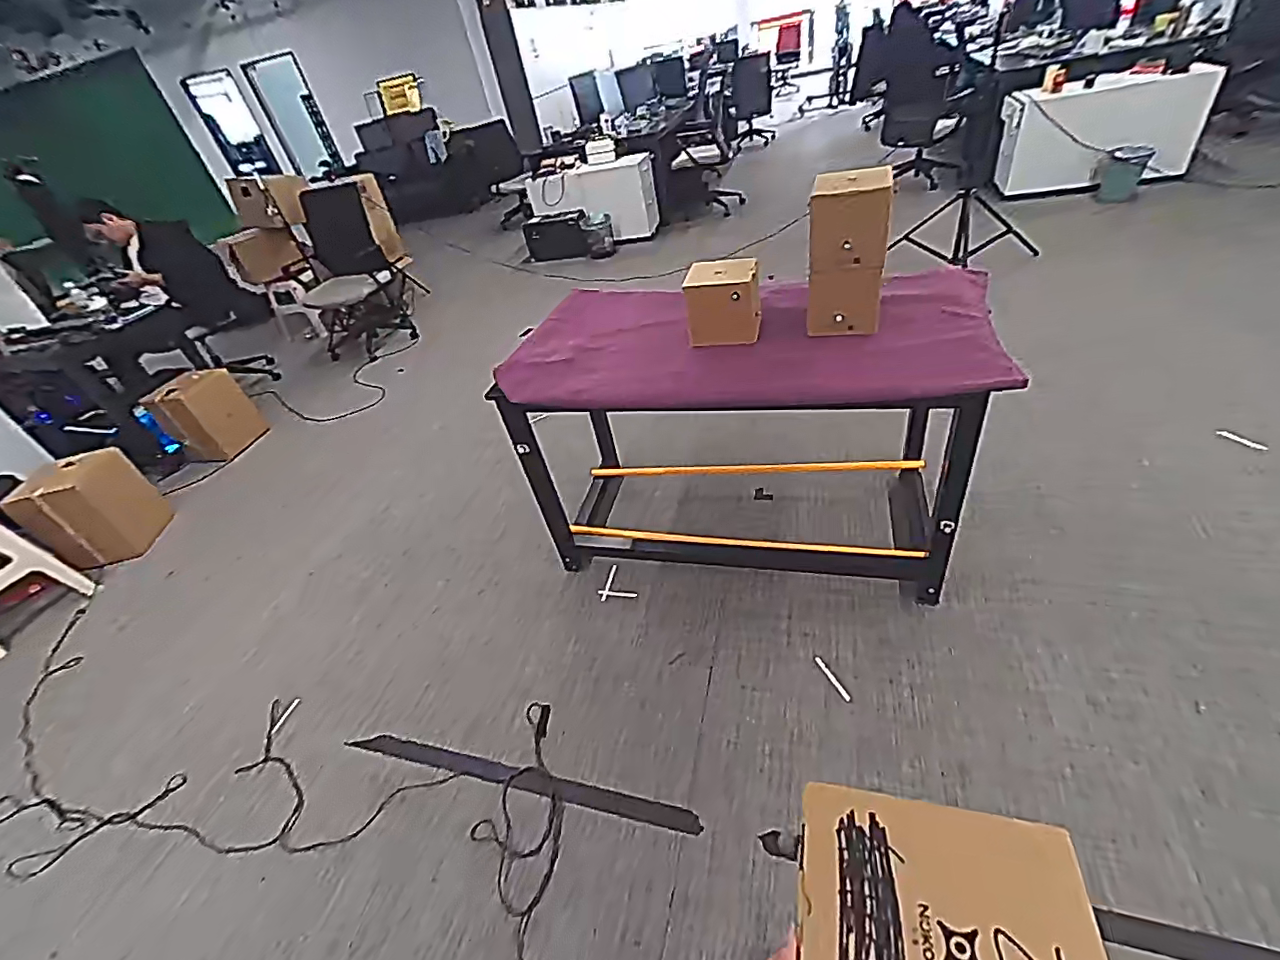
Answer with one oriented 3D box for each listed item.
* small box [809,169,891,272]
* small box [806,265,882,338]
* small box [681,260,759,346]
[{"bbox_3d":[0.484,-0.598,1.252,0.168,0.176,0.179,3,42,21],"label":"small box"},{"bbox_3d":[0.511,-0.473,1.357,0.168,0.176,0.179,4,43,21],"label":"small box"},{"bbox_3d":[0.218,-0.464,1.434,0.179,0.176,0.168,2,41,18],"label":"small box"}]
